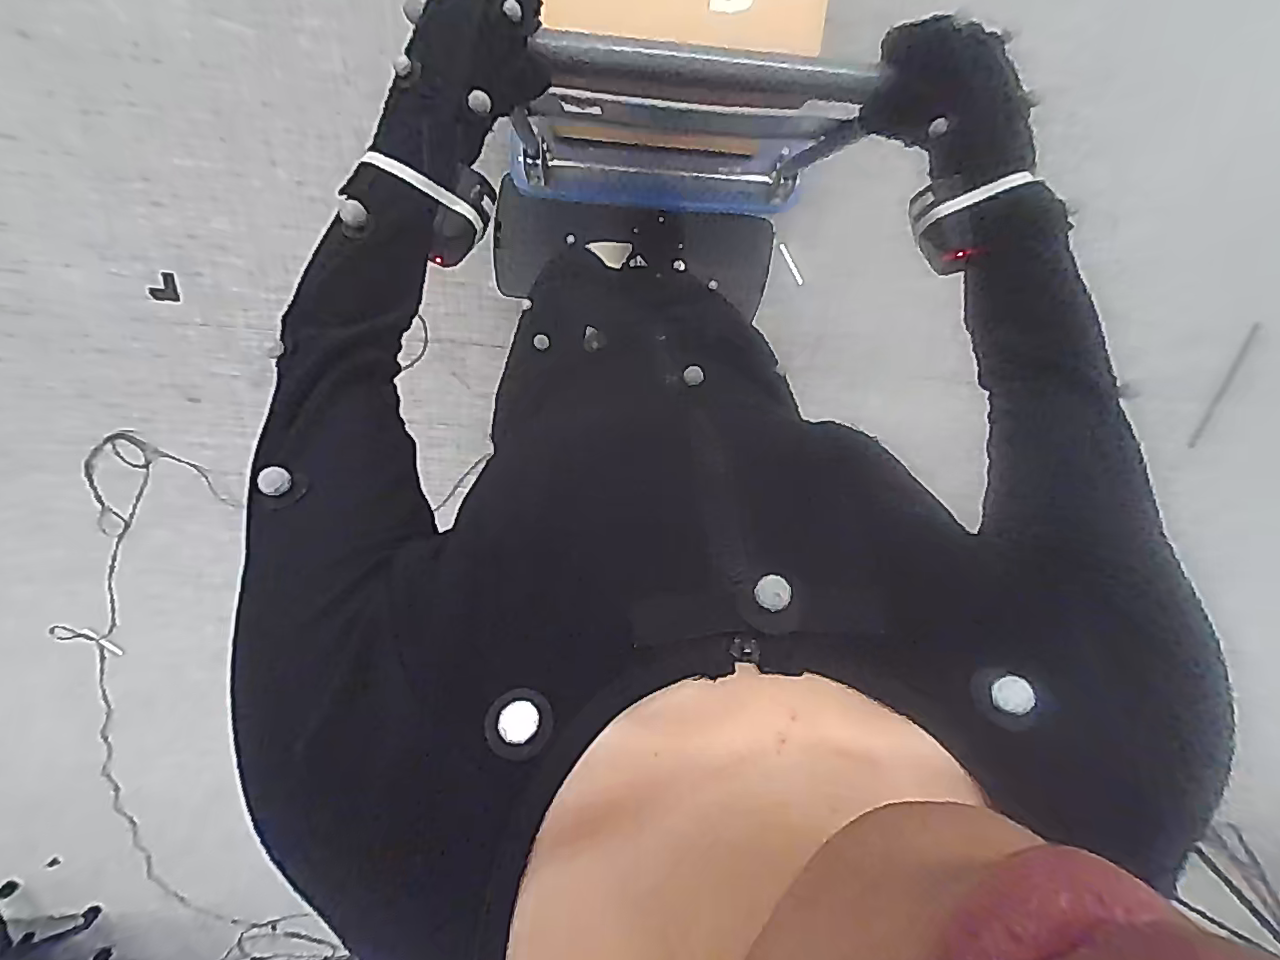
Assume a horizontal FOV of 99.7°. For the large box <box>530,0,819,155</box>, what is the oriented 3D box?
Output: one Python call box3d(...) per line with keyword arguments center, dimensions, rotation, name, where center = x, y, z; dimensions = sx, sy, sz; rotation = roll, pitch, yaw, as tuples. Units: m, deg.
box3d(center=(0.039, -0.741, 0.861), dimensions=(0.408, 0.320, 0.320), rotation=(1, 108, -5), name="large box")
